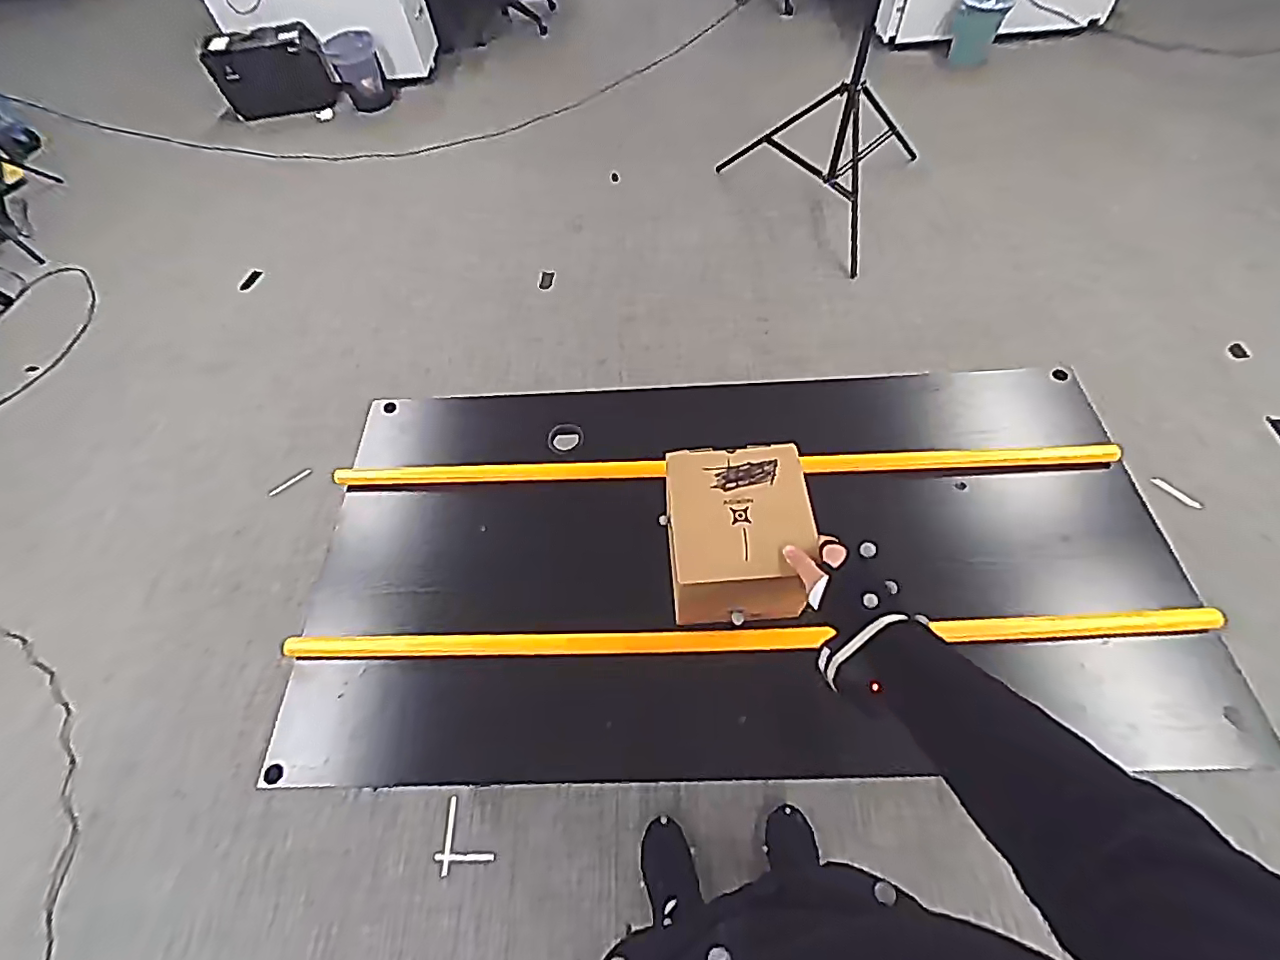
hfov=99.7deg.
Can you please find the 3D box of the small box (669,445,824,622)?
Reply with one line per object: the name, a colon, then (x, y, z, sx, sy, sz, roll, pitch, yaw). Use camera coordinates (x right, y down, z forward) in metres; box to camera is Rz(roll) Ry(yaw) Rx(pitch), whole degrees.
small box: (0.125, 0.074, 0.709, 0.168, 0.176, 0.179, -4, 60, 2)
